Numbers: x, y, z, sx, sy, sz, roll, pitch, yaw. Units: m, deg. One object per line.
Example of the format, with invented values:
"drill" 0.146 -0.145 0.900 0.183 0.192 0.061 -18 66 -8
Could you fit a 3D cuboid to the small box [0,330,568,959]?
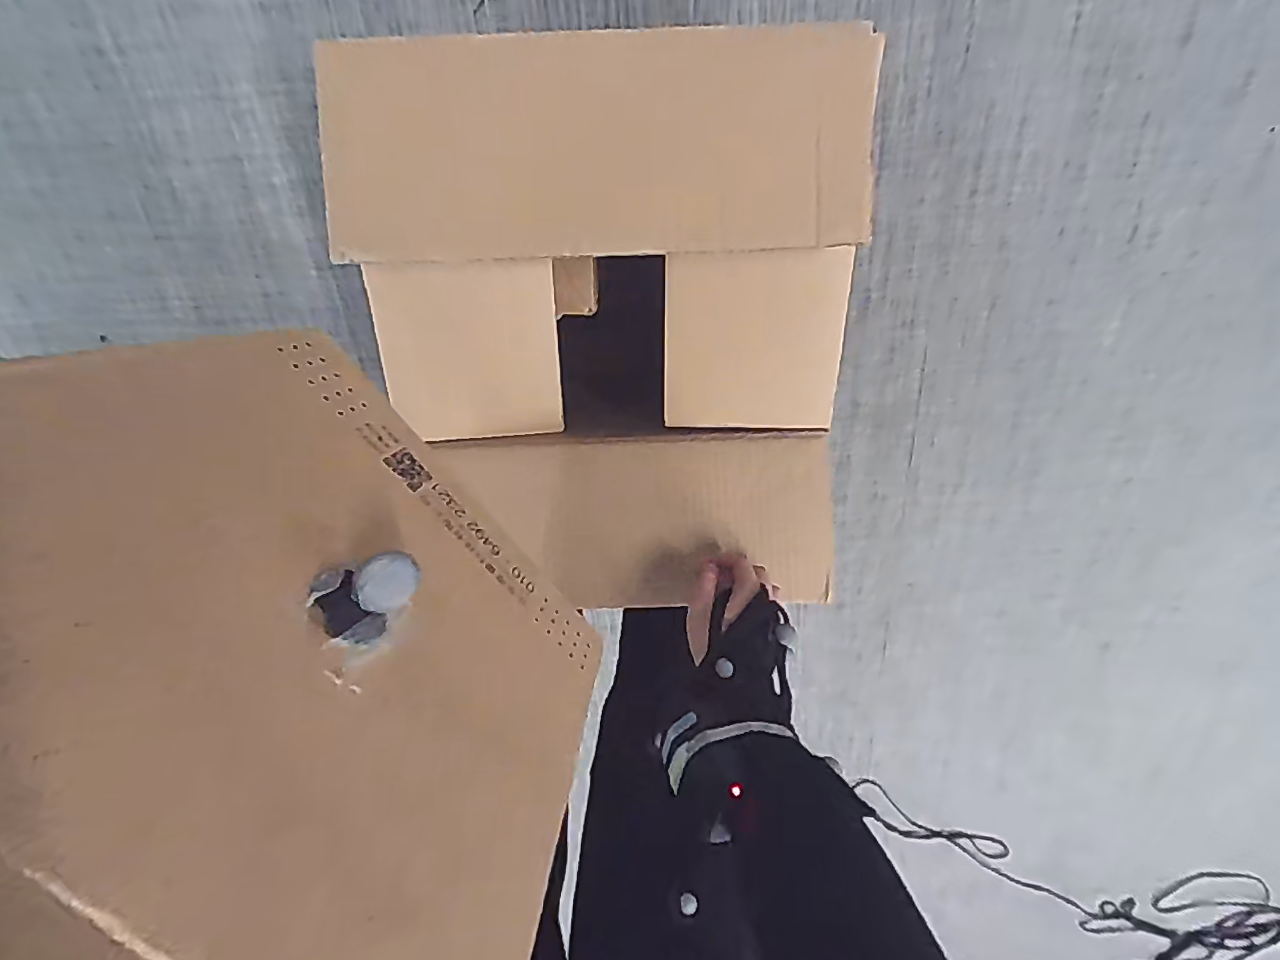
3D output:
"small box" -0.137 0.076 0.155 0.179 0.176 0.168 -35 104 16
